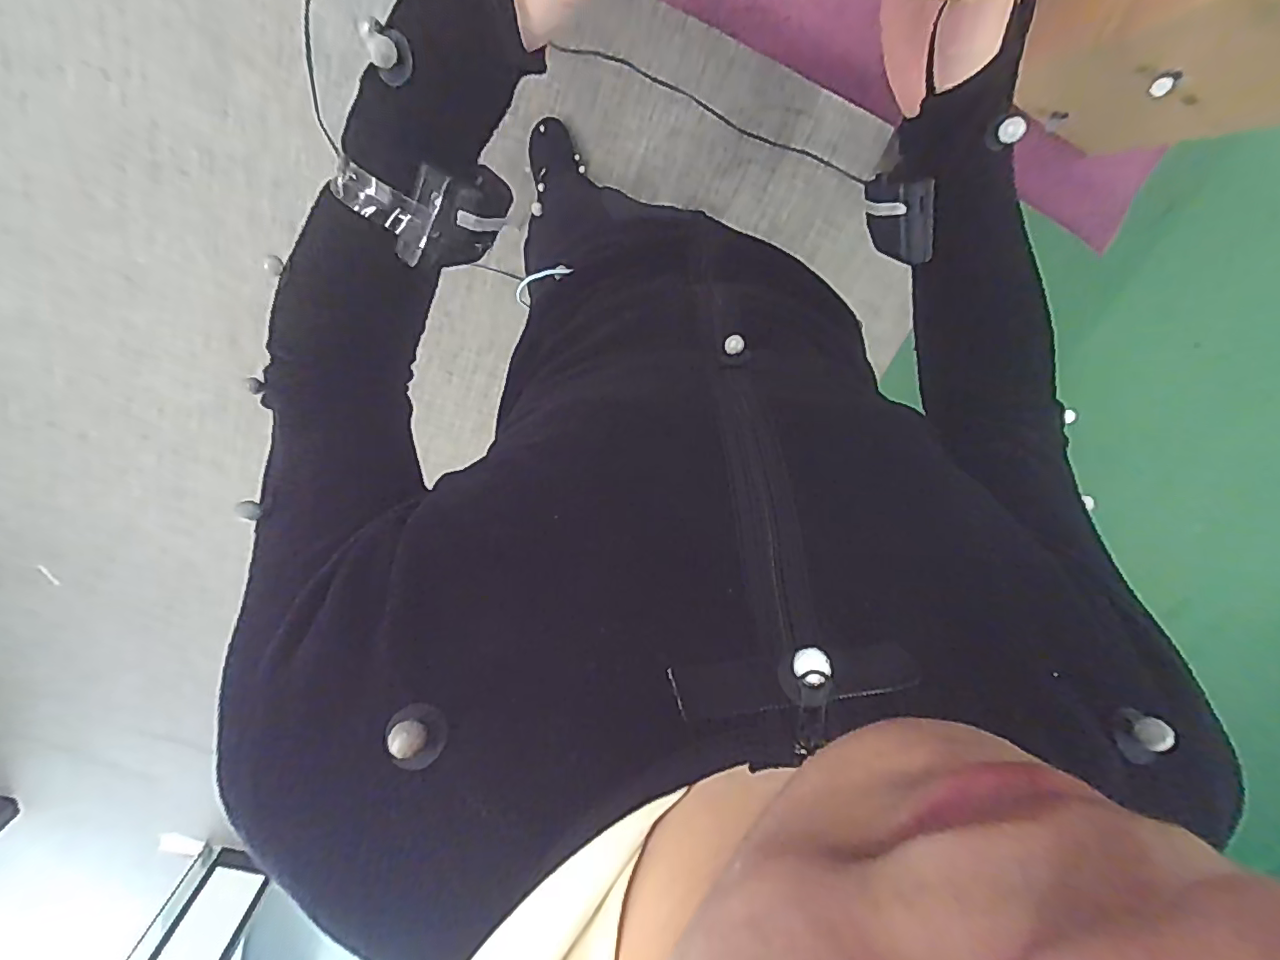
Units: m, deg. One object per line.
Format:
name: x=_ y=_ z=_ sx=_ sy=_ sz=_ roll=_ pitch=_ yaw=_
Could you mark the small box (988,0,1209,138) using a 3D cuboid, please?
small box: x=0.525 y=-0.487 z=0.565 sx=0.179 sy=0.176 sz=0.168 roll=24 pitch=113 yaw=-11
